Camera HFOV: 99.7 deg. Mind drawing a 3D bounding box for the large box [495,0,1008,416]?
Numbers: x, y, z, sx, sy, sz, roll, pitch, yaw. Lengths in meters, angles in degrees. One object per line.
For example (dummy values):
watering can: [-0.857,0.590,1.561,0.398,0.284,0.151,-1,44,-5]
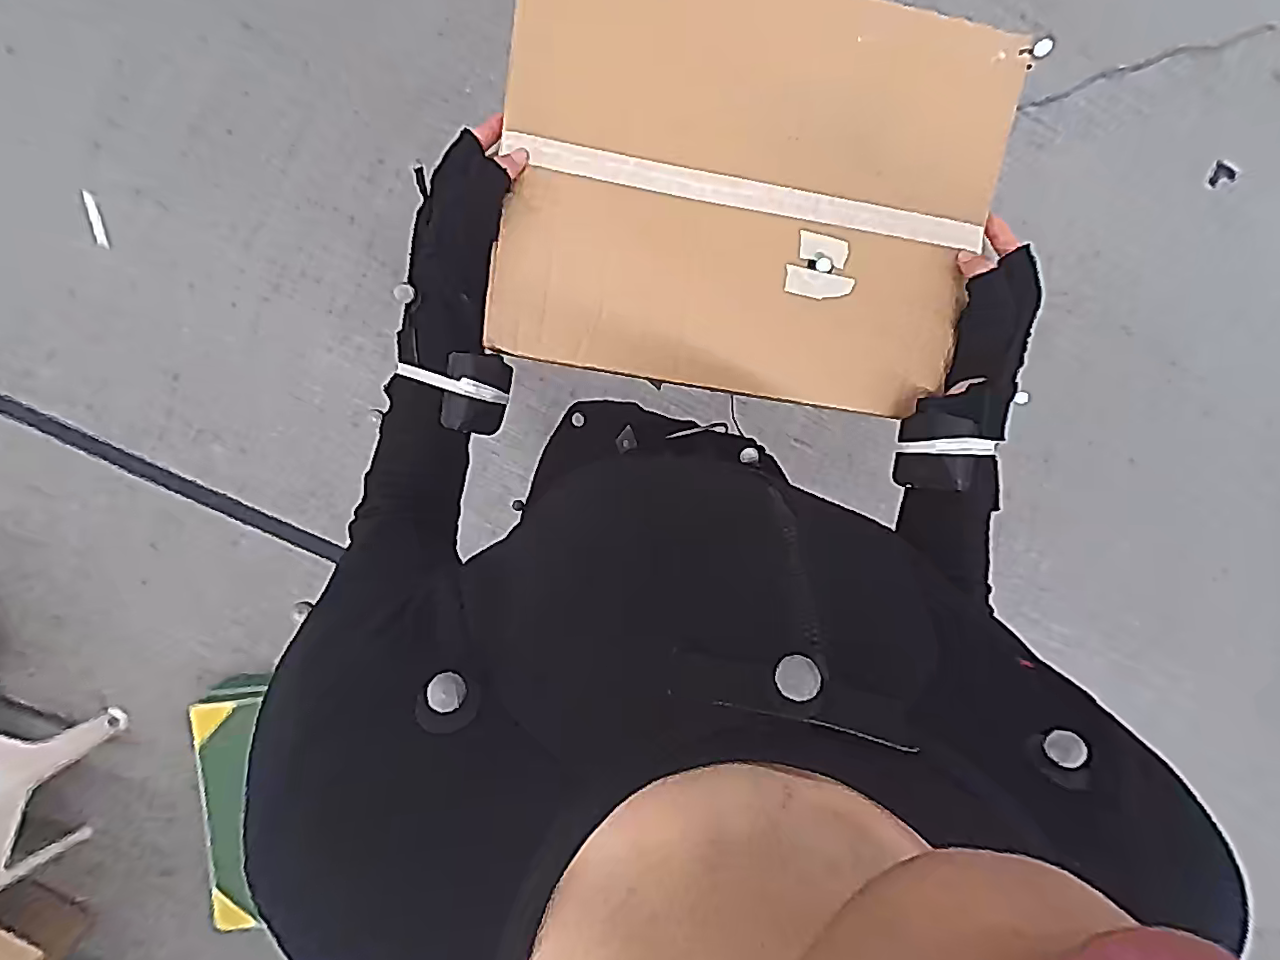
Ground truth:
large box: [0.077,-0.263,0.602,0.408,0.320,0.320,9,102,-7]
